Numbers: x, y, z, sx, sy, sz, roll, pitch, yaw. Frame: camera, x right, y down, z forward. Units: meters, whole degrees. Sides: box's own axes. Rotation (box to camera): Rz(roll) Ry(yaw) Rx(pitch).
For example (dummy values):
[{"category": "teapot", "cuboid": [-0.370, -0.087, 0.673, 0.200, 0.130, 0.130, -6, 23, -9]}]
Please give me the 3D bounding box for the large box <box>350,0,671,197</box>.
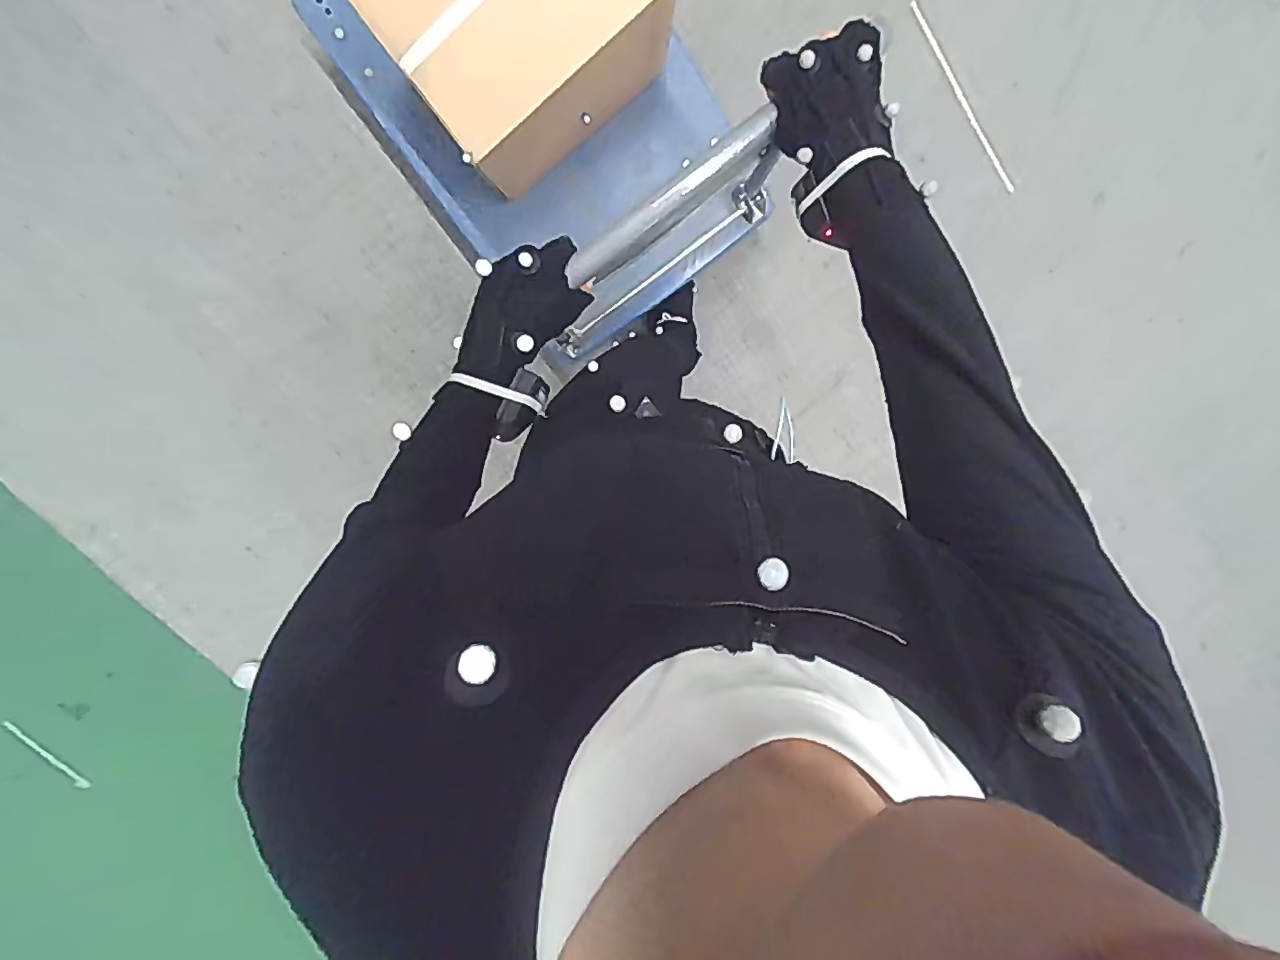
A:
[{"category": "large box", "cuboid": [-0.196, -0.781, 0.934, 0.408, 0.320, 0.320, -38, 104, 10]}]
